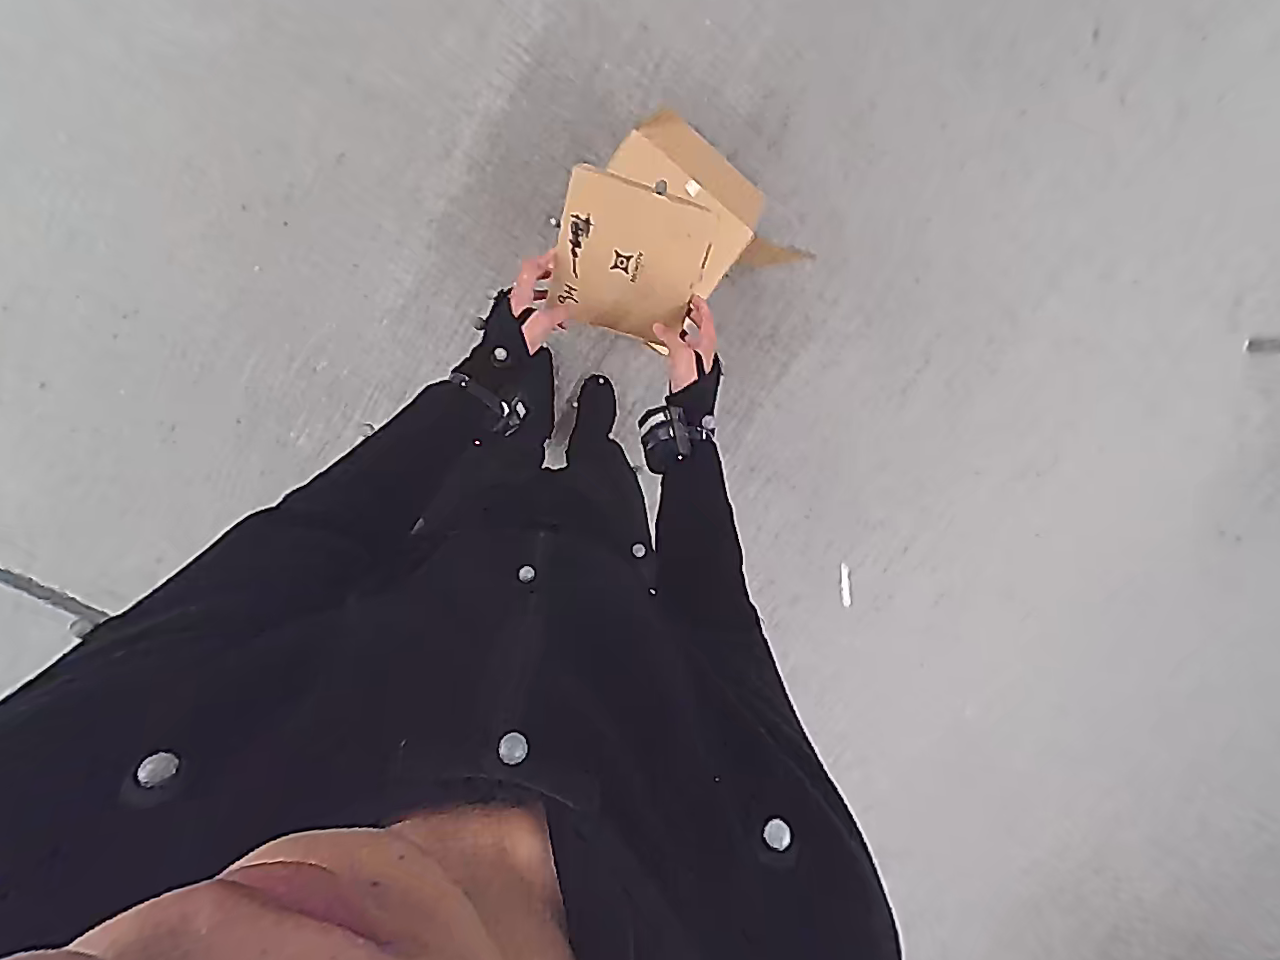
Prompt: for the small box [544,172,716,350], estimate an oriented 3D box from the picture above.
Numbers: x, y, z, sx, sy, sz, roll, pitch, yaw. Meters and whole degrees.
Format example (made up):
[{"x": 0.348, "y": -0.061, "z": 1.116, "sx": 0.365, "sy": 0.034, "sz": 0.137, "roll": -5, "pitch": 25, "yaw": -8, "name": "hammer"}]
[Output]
[{"x": -0.018, "y": -0.298, "z": 0.723, "sx": 0.179, "sy": 0.176, "sz": 0.168, "roll": 14, "pitch": 121, "yaw": -10, "name": "small box"}]
